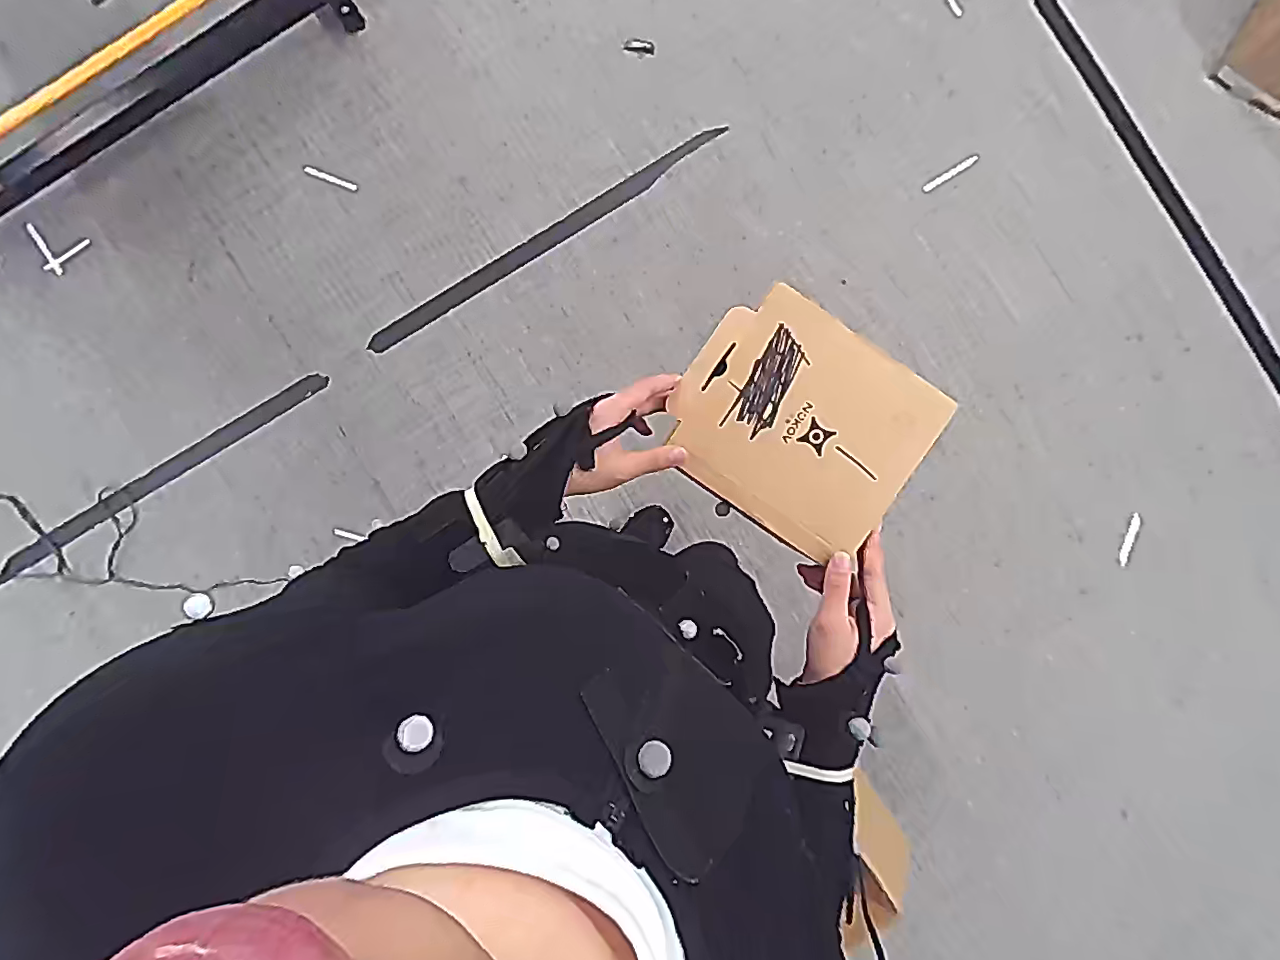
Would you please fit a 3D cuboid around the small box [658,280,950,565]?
[{"bbox_3d":[0.130,-0.047,0.506,0.179,0.176,0.168,34,93,-1],"label":"small box"}]
